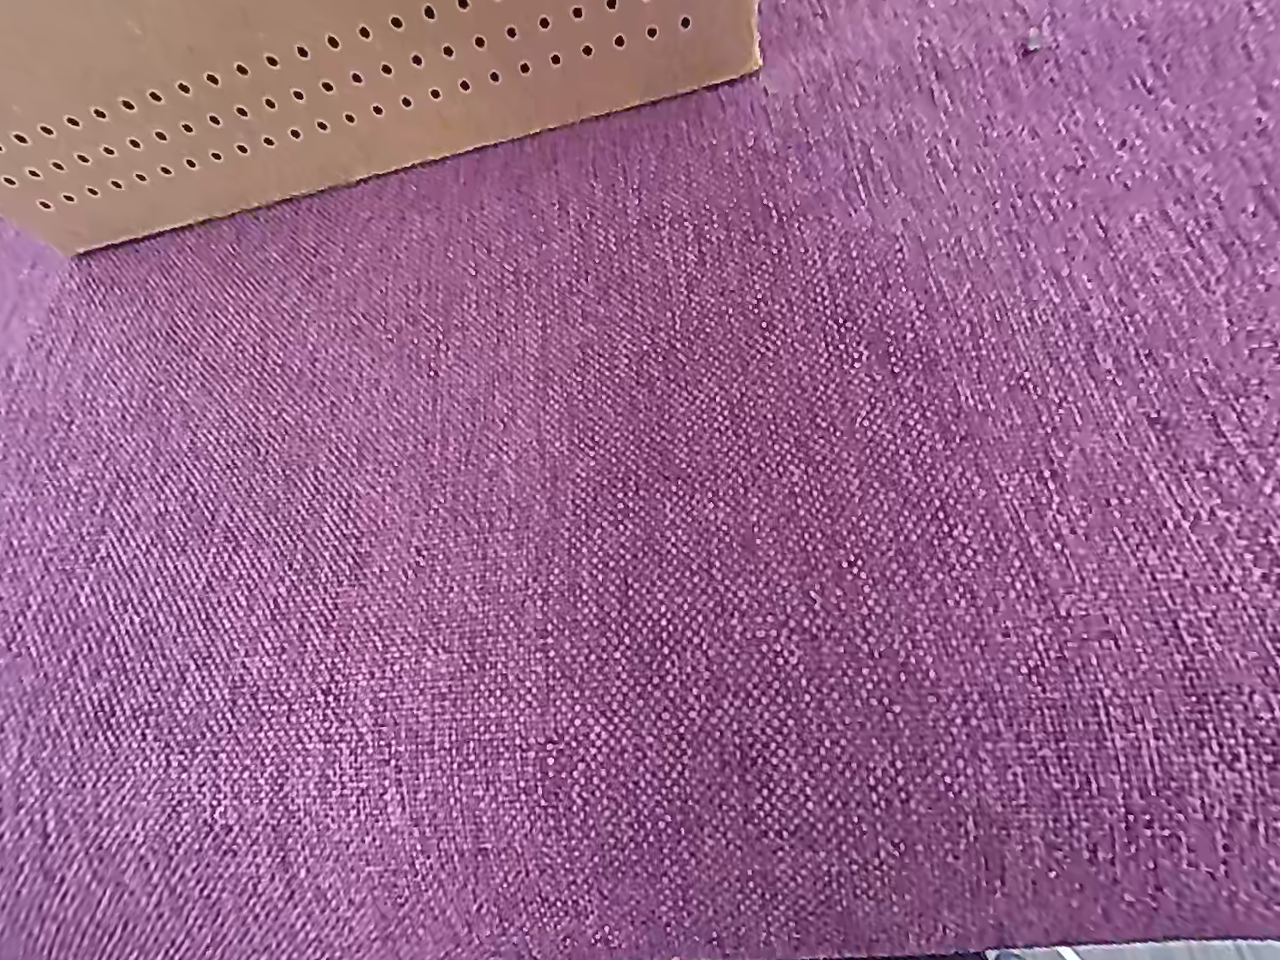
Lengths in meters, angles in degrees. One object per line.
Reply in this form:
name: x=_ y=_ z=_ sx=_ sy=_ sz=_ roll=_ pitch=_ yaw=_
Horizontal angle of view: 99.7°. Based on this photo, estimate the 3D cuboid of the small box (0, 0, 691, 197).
small box: x=-0.076 y=-0.183 z=0.082 sx=0.179 sy=0.176 sz=0.168 roll=-9 pitch=67 yaw=8

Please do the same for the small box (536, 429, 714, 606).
small box: x=-0.011 y=0.055 z=0.636 sx=0.179 sy=0.176 sz=0.168 roll=-8 pitch=75 yaw=4

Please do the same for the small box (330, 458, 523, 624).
small box: x=-0.257 y=0.087 z=0.693 sx=0.179 sy=0.176 sz=0.168 roll=-10 pitch=70 yaw=8
